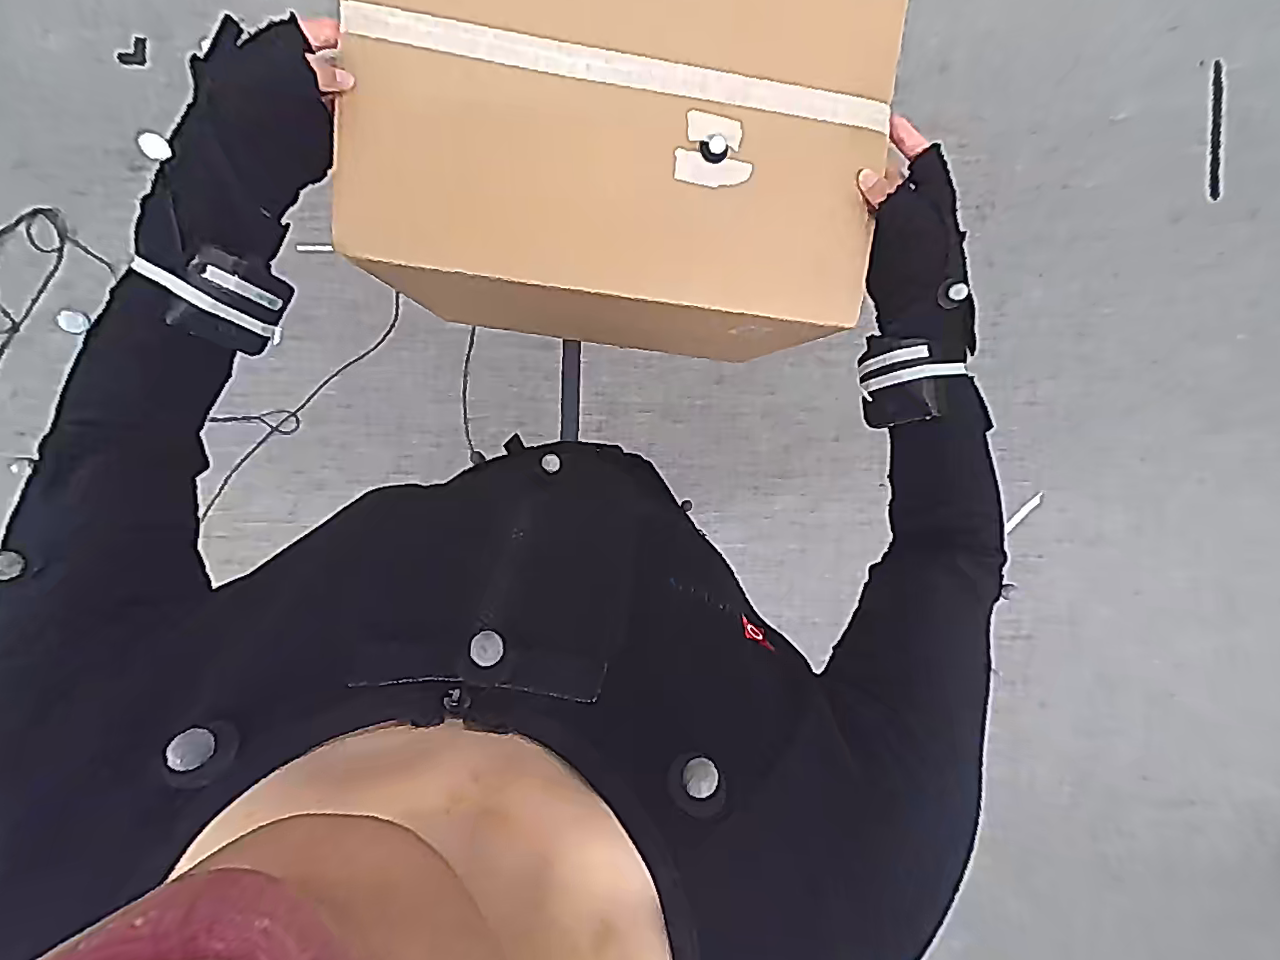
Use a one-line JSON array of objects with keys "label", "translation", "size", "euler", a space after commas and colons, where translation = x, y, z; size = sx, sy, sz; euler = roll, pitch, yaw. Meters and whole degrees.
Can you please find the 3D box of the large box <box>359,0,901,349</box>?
[{"label": "large box", "translation": [-0.019, -0.326, 0.555], "size": [0.408, 0.320, 0.320], "euler": [5, 98, -7]}]
